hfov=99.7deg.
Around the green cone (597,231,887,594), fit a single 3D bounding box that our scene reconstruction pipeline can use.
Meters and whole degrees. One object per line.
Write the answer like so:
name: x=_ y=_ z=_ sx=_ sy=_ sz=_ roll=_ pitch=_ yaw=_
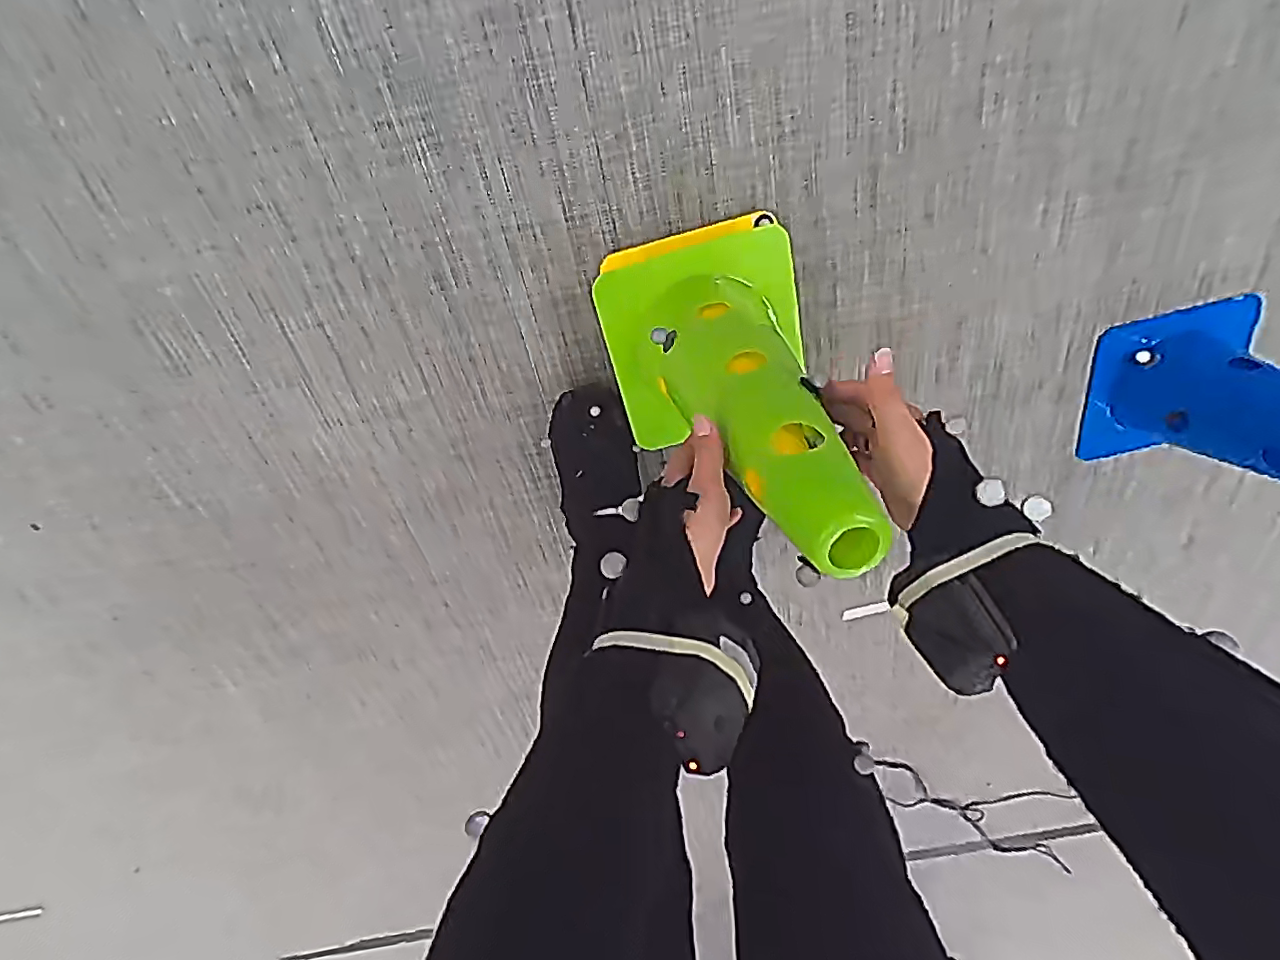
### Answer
green cone: x=0.087 y=-0.051 z=0.409 sx=0.202 sy=0.368 sz=0.200 roll=-15 pitch=119 yaw=3
